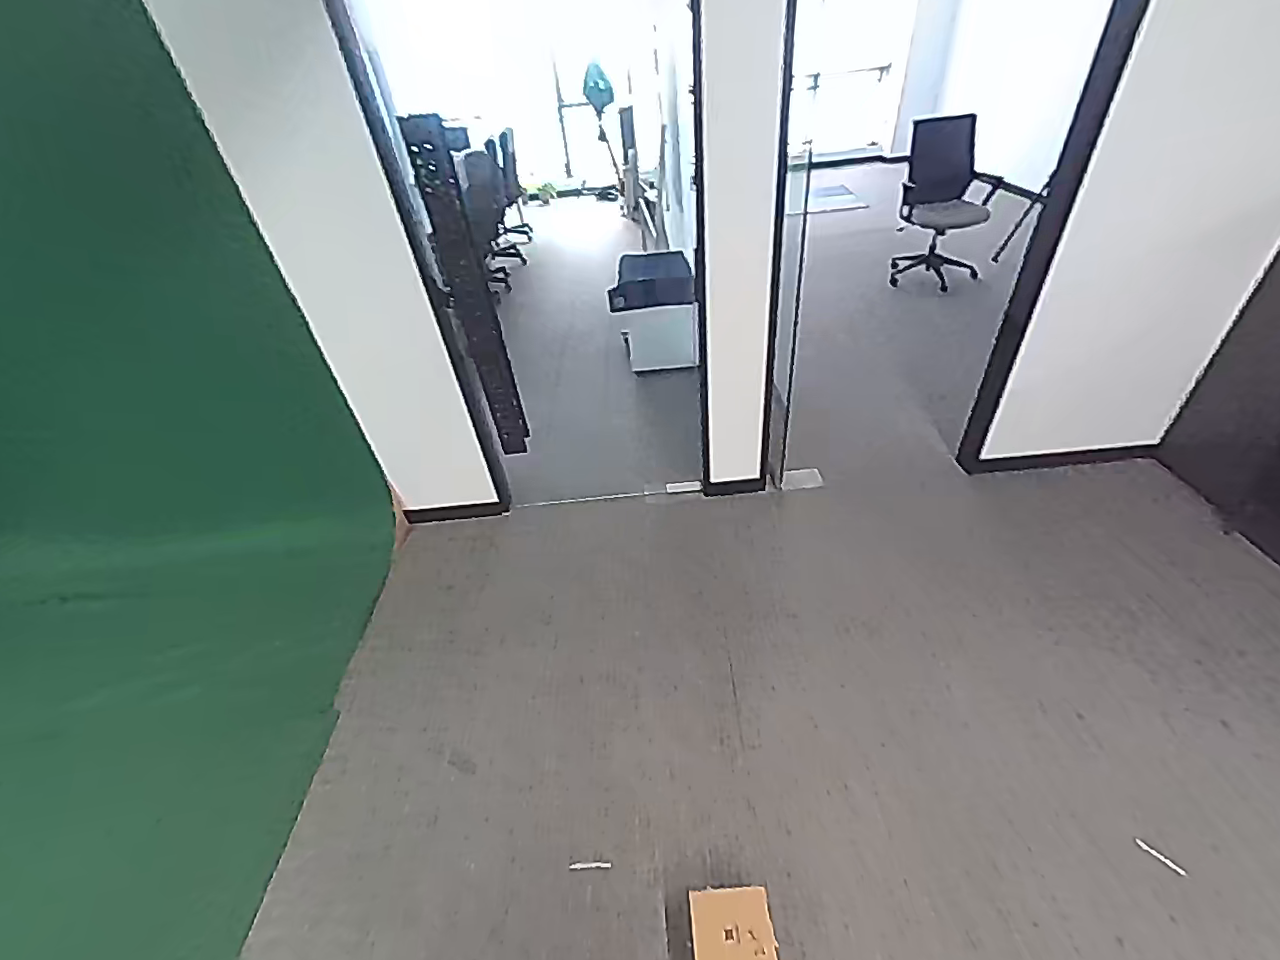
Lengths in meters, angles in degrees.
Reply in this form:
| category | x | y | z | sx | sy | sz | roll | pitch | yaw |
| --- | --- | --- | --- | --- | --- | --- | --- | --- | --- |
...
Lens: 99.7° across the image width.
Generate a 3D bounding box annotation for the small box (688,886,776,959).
| category | x | y | z | sx | sy | sz | roll | pitch | yaw |
| --- | --- | --- | --- | --- | --- | --- | --- | --- | --- |
| small box | 0.203 | 1.031 | 1.205 | 0.179 | 0.176 | 0.168 | -4 | 39 | 2 |
